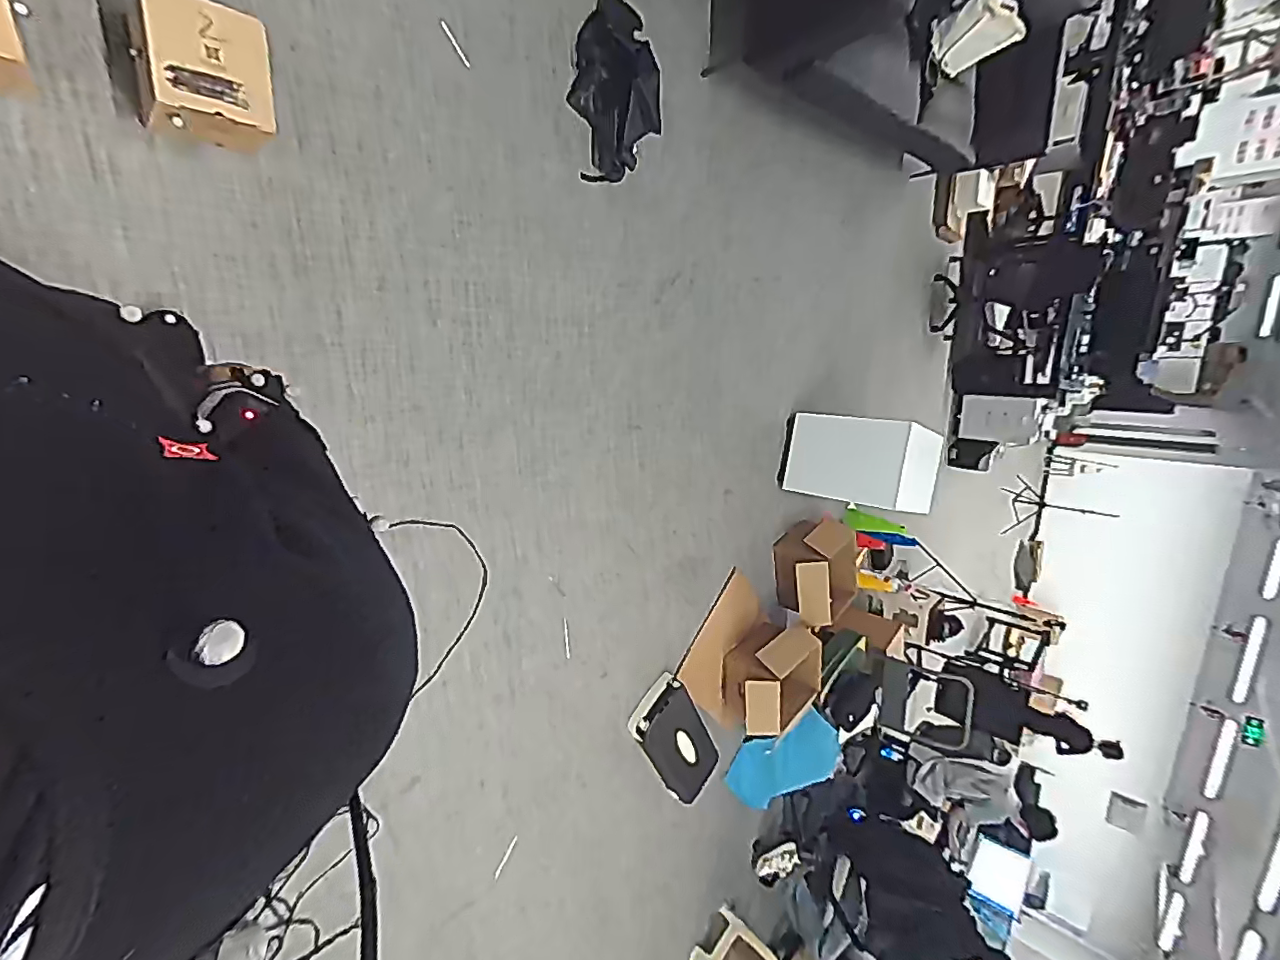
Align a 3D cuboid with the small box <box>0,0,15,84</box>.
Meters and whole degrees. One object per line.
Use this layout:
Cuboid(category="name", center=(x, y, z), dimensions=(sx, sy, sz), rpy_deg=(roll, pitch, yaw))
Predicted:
Cuboid(category="small box", center=(-0.967, -0.663, 0.706), dimensions=(0.168, 0.176, 0.179), rpy_deg=(-17, 113, -45))
